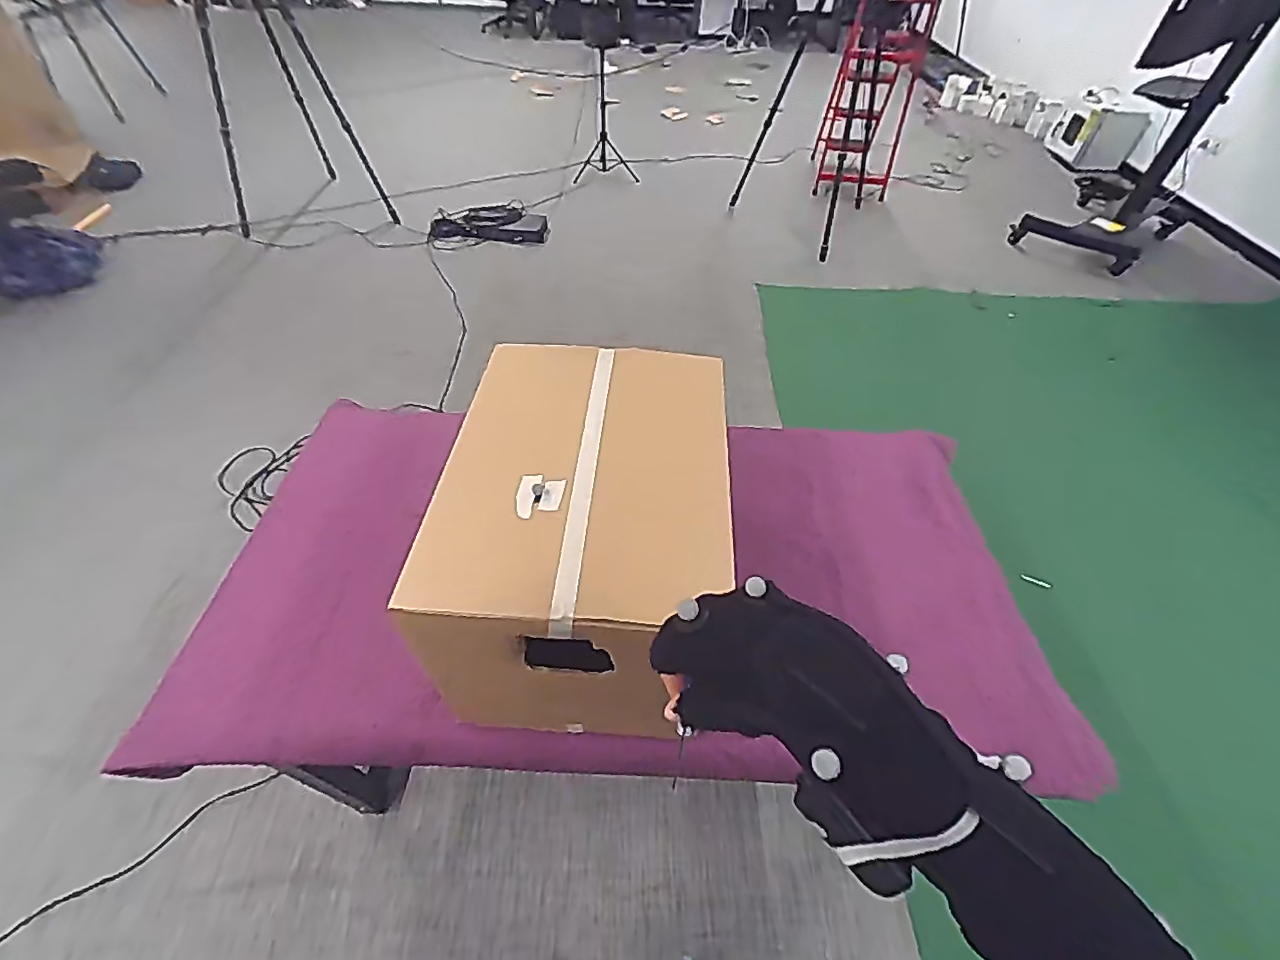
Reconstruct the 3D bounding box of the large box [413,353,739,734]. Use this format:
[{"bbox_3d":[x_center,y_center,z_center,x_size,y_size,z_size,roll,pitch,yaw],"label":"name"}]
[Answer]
[{"bbox_3d":[-0.057,0.082,0.738,0.320,0.320,0.408,5,49,1],"label":"large box"}]
